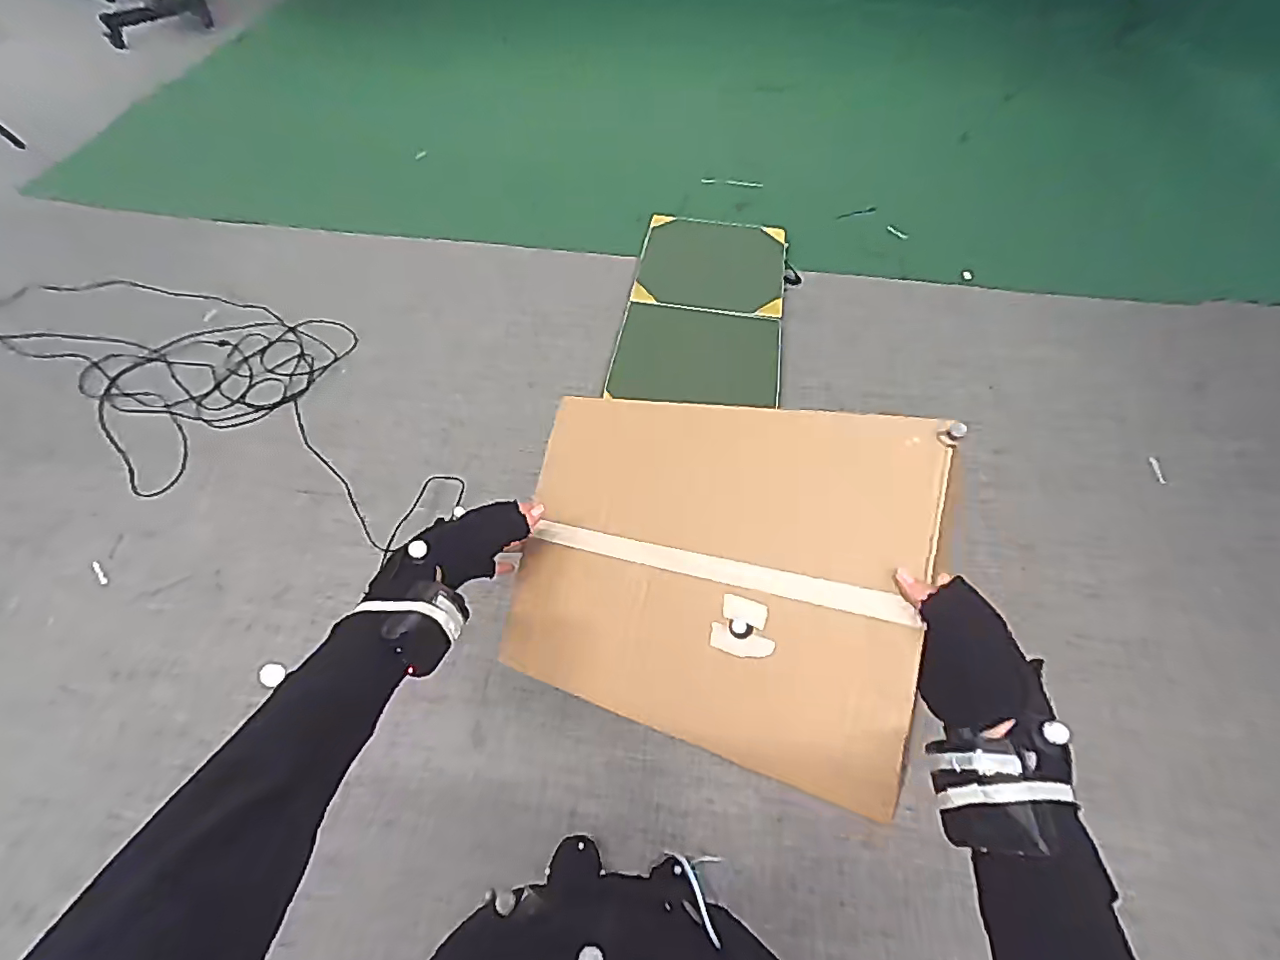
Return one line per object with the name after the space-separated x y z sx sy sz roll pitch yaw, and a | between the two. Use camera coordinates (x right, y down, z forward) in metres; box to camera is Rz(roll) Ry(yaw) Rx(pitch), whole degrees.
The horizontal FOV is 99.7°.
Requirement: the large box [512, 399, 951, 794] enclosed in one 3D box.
0.124 0.105 0.655 0.408 0.320 0.320 8 83 29 | large box
